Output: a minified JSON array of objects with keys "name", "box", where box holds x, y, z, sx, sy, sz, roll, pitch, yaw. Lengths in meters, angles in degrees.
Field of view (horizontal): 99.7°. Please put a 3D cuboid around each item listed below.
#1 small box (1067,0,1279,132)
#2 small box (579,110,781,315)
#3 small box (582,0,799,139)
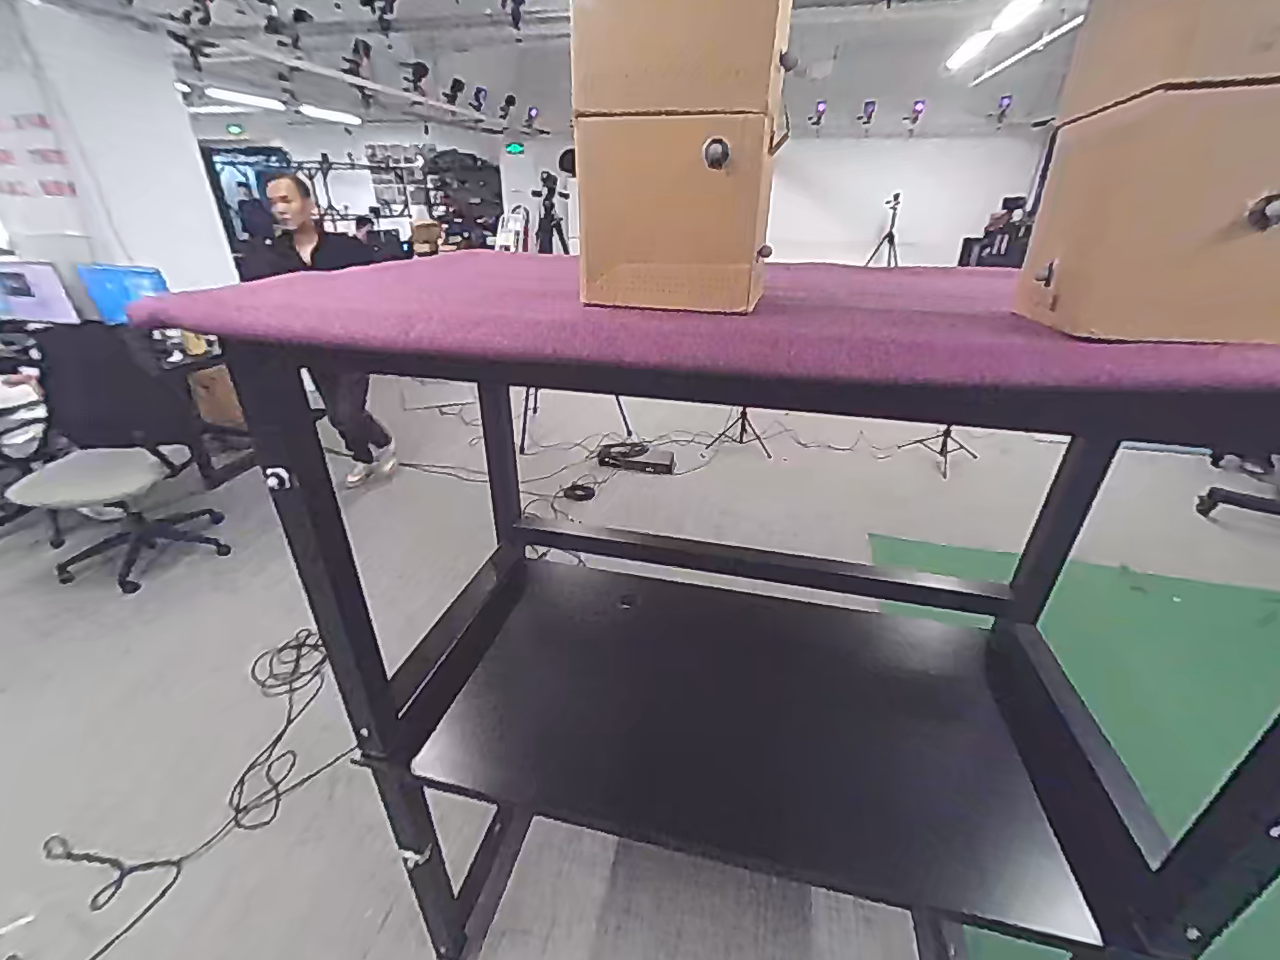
[{"name":"small box","box":[0.445,-0.357,0.375,0.168,0.176,0.179,6,26,14]},{"name":"small box","box":[0.047,-0.271,0.569,0.179,0.176,0.168,8,27,13]},{"name":"small box","box":[0.051,-0.421,0.501,0.179,0.176,0.168,9,27,12]}]
